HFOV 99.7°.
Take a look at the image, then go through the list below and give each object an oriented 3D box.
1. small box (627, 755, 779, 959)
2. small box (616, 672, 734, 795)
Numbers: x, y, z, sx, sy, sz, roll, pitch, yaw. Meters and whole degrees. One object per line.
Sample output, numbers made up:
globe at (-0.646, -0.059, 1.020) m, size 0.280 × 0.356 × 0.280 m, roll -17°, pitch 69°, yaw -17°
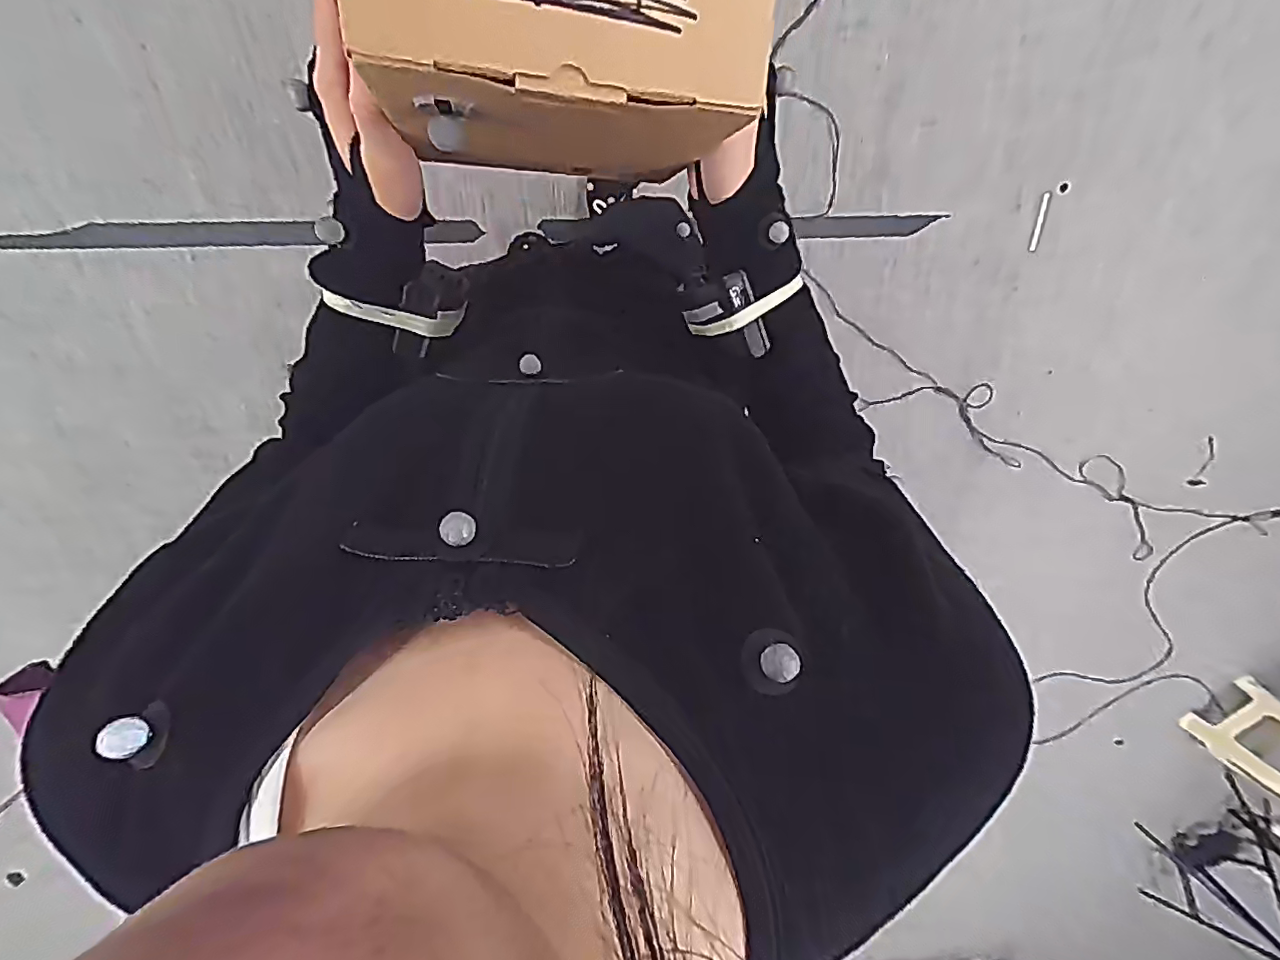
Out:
small box at (0.079, 0.521, 0.757) m, size 0.179 × 0.176 × 0.168 m, roll -9°, pitch 118°, yaw -6°
small box at (0.053, 0.452, 0.901) m, size 0.168 × 0.176 × 0.179 m, roll -7°, pitch 116°, yaw -6°
